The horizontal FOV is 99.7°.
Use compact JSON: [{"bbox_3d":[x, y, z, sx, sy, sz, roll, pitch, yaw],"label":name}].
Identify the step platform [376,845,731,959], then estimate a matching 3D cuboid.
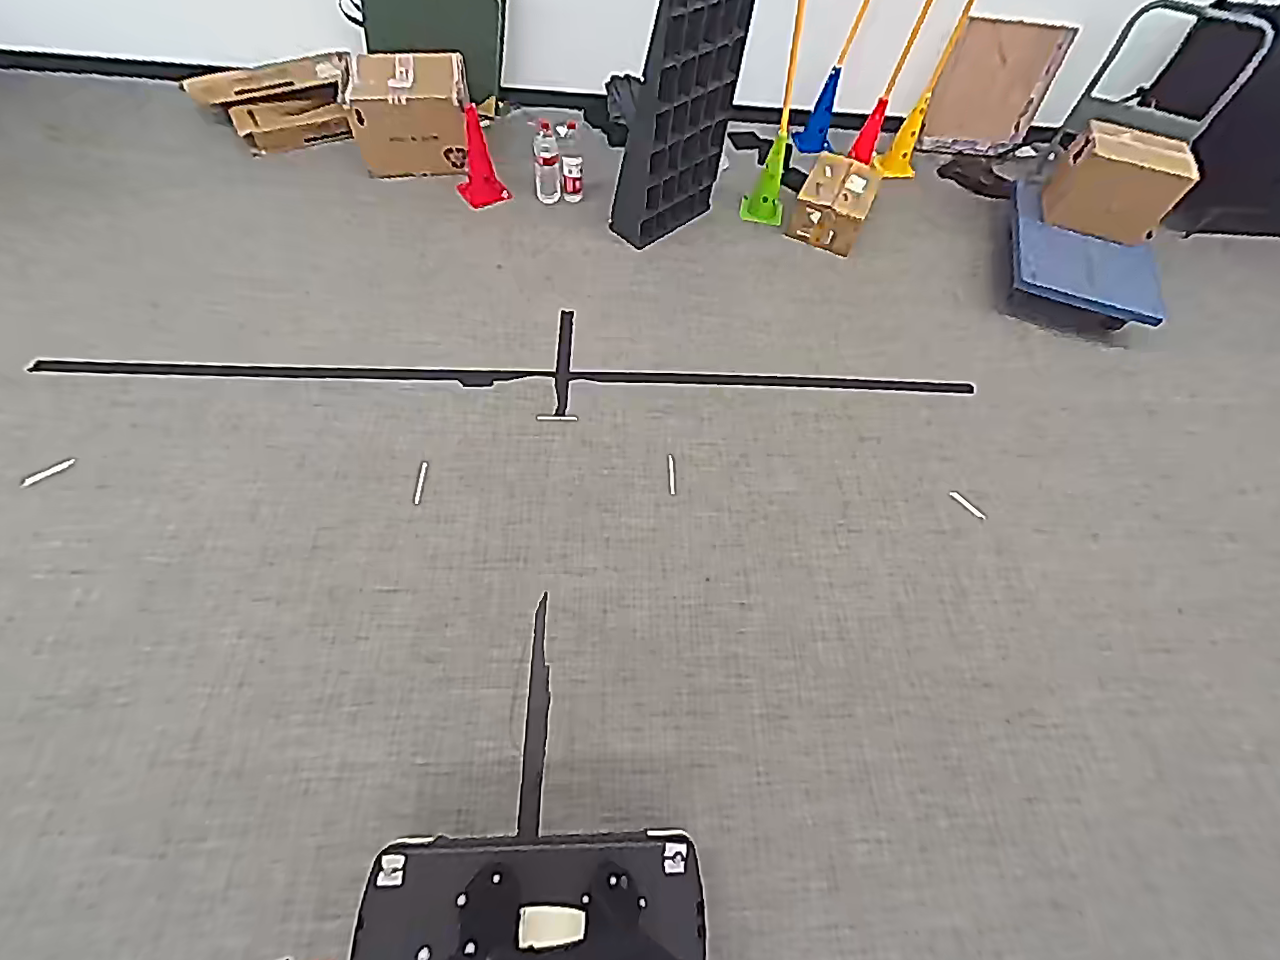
[{"bbox_3d":[-0.162,0.929,1.091,0.684,0.204,0.286,5,57,-3],"label":"step platform"}]
